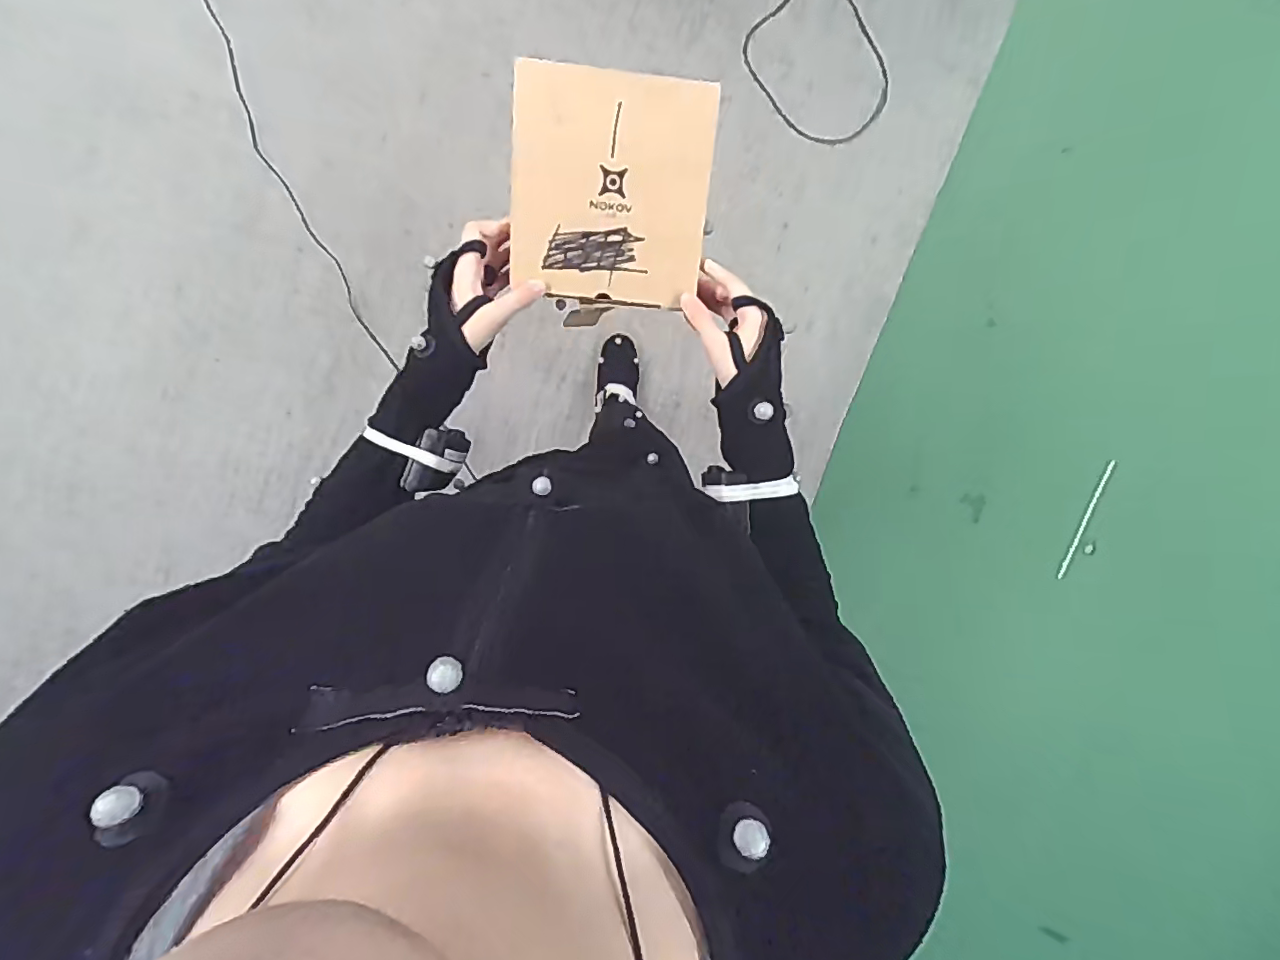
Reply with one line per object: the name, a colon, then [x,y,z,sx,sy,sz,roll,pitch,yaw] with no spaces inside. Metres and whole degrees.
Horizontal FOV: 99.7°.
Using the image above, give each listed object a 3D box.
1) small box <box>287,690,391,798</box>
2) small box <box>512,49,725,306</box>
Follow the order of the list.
small box: [-0.804,0.707,1.464,0.168,0.176,0.179,21,94,-5]
small box: [-0.025,-0.269,0.525,0.168,0.176,0.179,5,108,-5]
